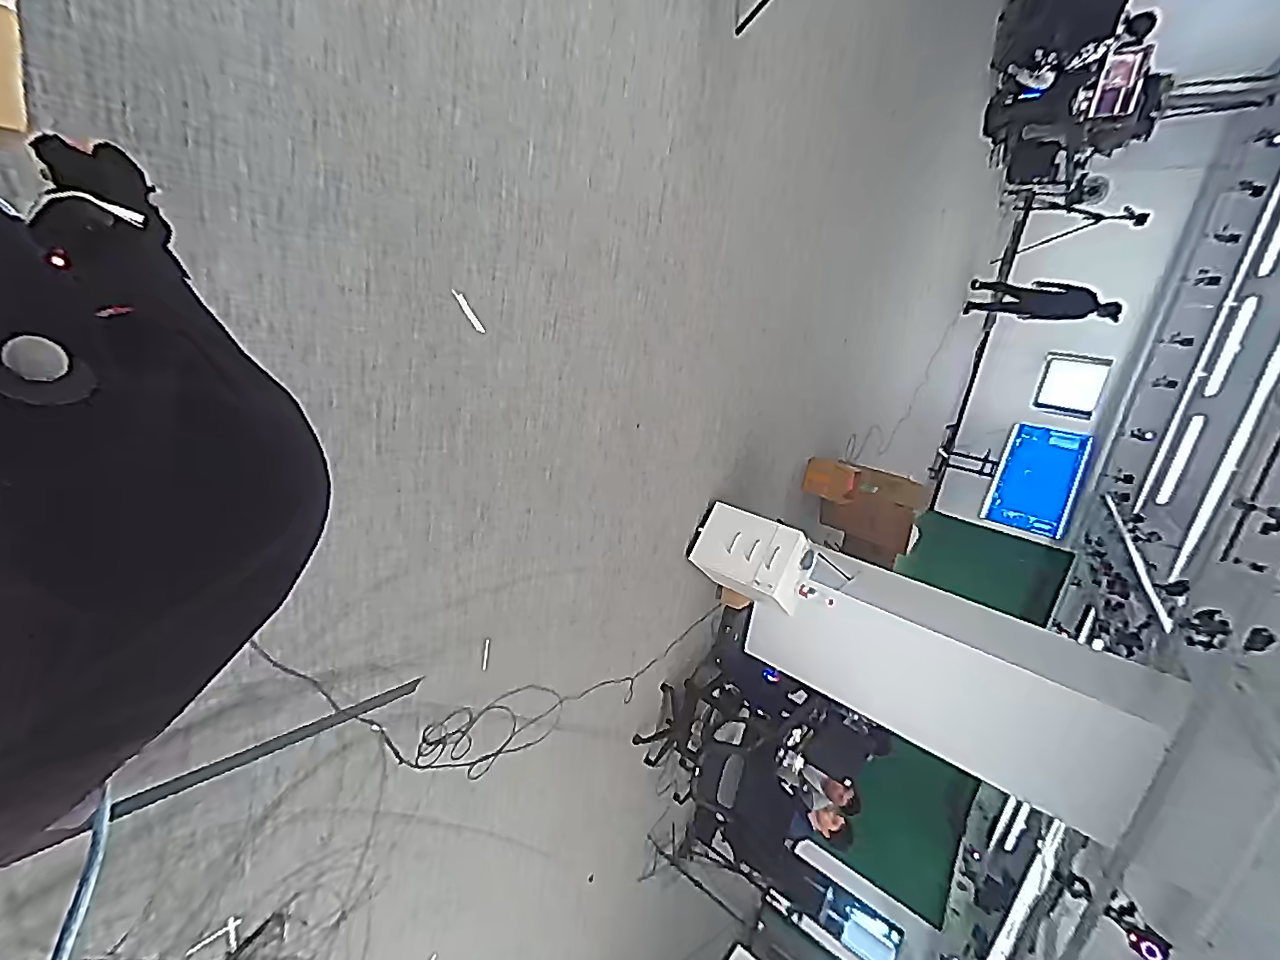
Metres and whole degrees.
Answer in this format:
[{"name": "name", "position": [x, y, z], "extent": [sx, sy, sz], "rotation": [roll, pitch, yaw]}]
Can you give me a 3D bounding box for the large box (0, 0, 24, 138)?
[{"name": "large box", "position": [-1.068, -0.648, 0.637], "extent": [0.408, 0.320, 0.320], "rotation": [-10, 115, -53]}]
